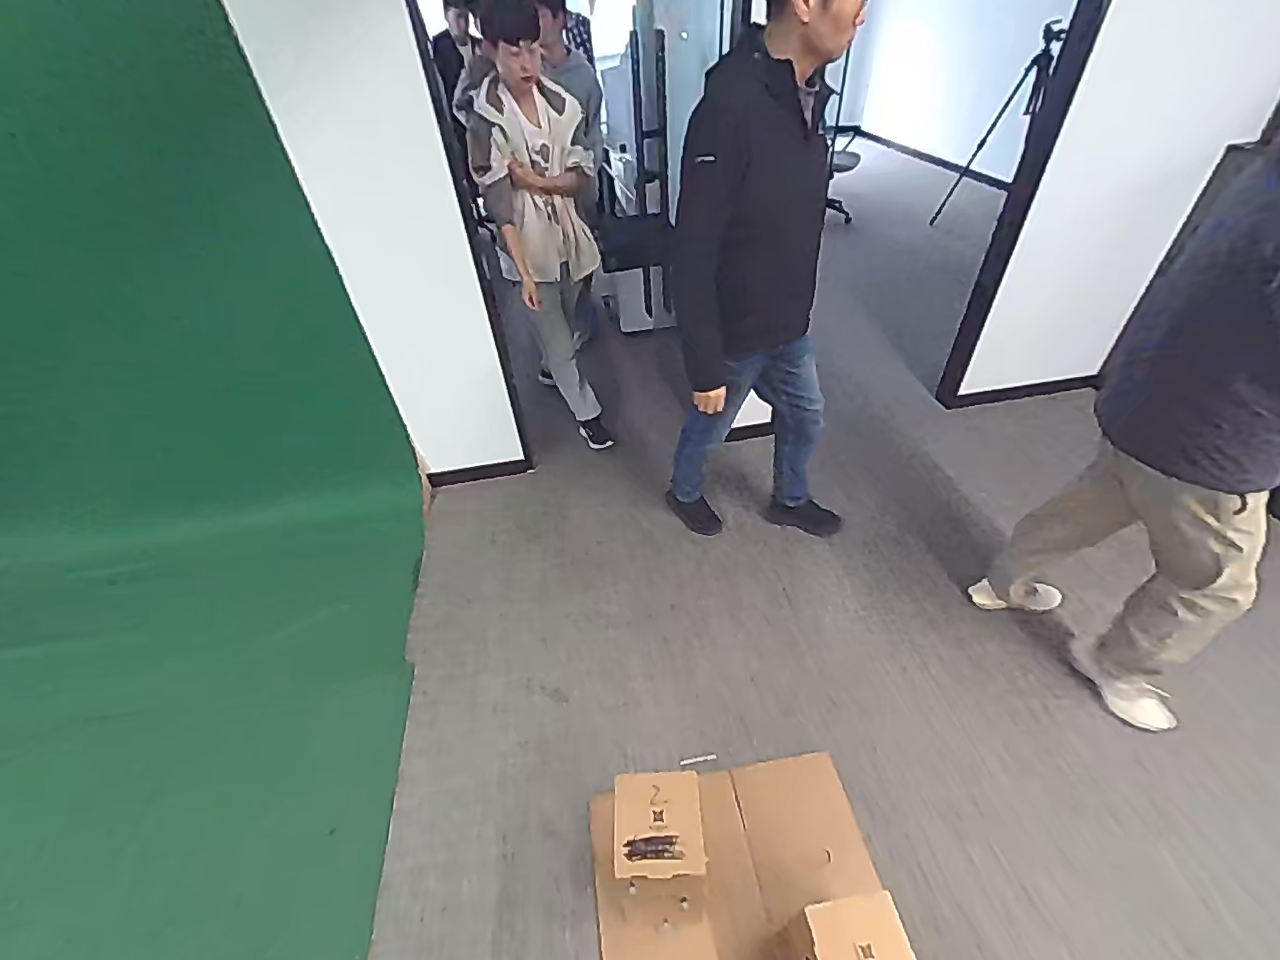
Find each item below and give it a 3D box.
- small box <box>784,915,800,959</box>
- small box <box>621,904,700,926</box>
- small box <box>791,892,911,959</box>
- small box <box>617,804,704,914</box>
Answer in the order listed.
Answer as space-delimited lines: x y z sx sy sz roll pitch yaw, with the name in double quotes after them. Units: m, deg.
0.416 1.041 1.158 0.179 0.176 0.168 -8 42 -4 "small box"
0.046 0.944 1.291 0.179 0.176 0.168 -2 41 1 "small box"
0.409 0.926 1.044 0.179 0.176 0.168 -9 43 -4 "small box"
0.042 0.824 1.176 0.179 0.176 0.168 -3 41 1 "small box"
